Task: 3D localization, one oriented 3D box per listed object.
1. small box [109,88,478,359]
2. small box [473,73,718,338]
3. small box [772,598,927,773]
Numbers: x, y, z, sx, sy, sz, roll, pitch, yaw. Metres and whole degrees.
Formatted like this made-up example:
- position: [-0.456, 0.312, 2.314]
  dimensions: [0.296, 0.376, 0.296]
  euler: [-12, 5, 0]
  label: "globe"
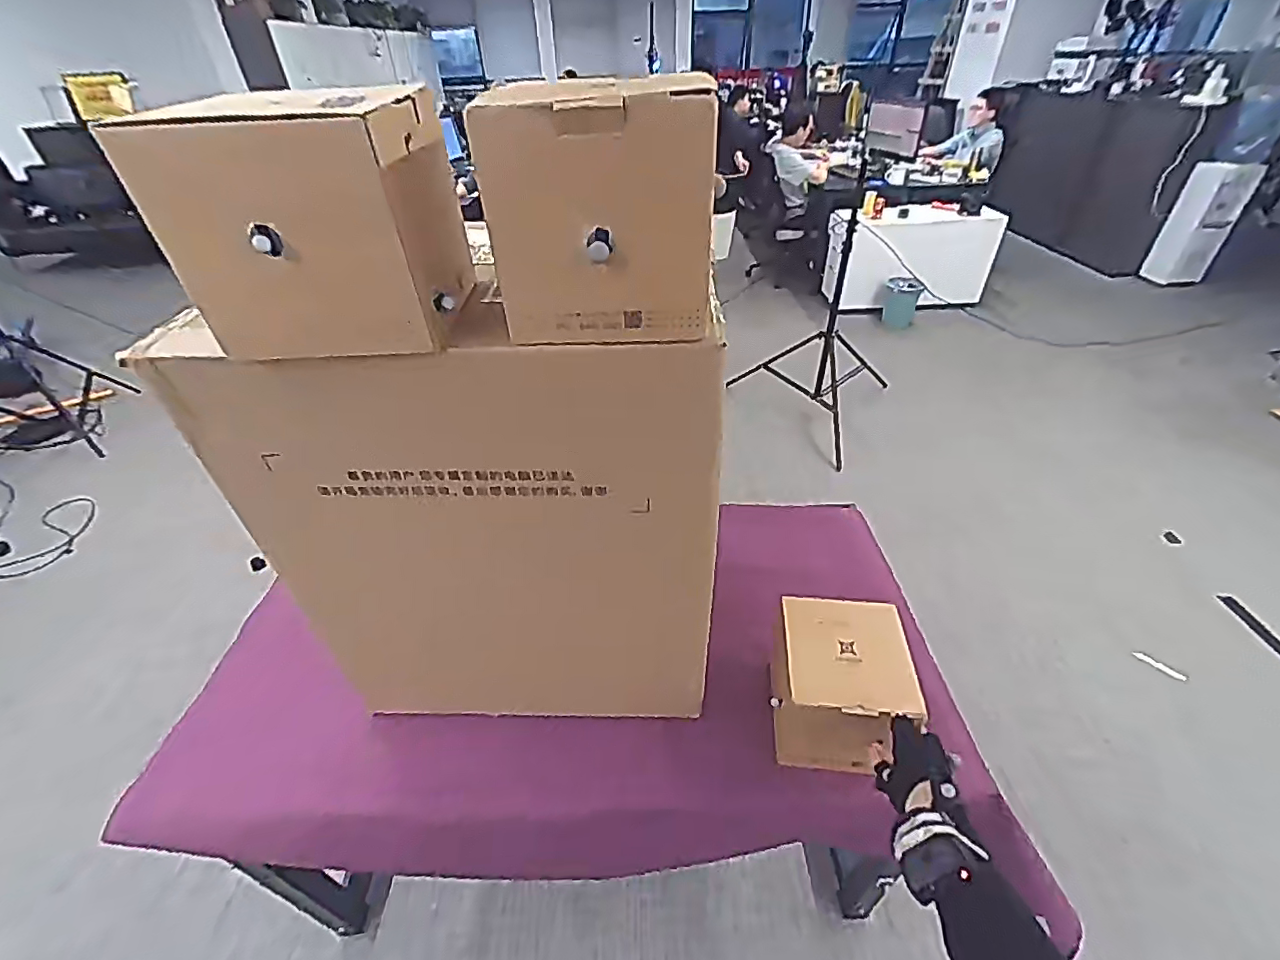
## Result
- position: [-0.252, -0.215, 0.456]
  dimensions: [0.179, 0.176, 0.168]
  euler: [-3, 40, 1]
  label: "small box"
- position: [-0.022, -0.232, 0.462]
  dimensions: [0.168, 0.176, 0.179]
  euler: [0, 40, 3]
  label: "small box"
- position: [0.287, 0.298, 0.785]
  dimensions: [0.168, 0.176, 0.179]
  euler: [3, 37, 6]
  label: "small box"
